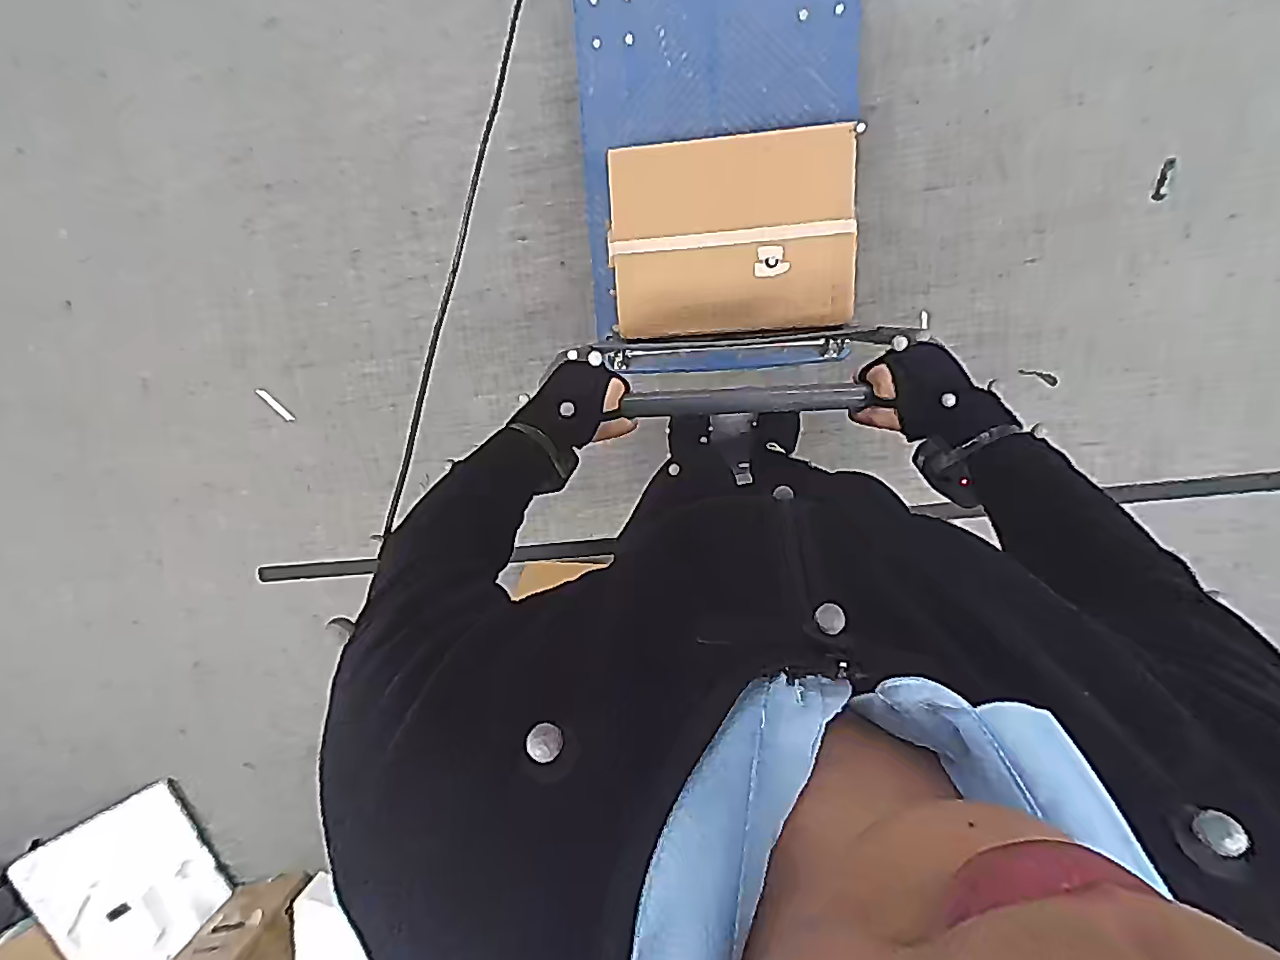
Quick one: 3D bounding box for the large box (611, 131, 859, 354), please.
[{"bbox_3d":[0.173,-0.421,1.048,0.408,0.320,0.320,-2,102,7],"label":"large box"}]
